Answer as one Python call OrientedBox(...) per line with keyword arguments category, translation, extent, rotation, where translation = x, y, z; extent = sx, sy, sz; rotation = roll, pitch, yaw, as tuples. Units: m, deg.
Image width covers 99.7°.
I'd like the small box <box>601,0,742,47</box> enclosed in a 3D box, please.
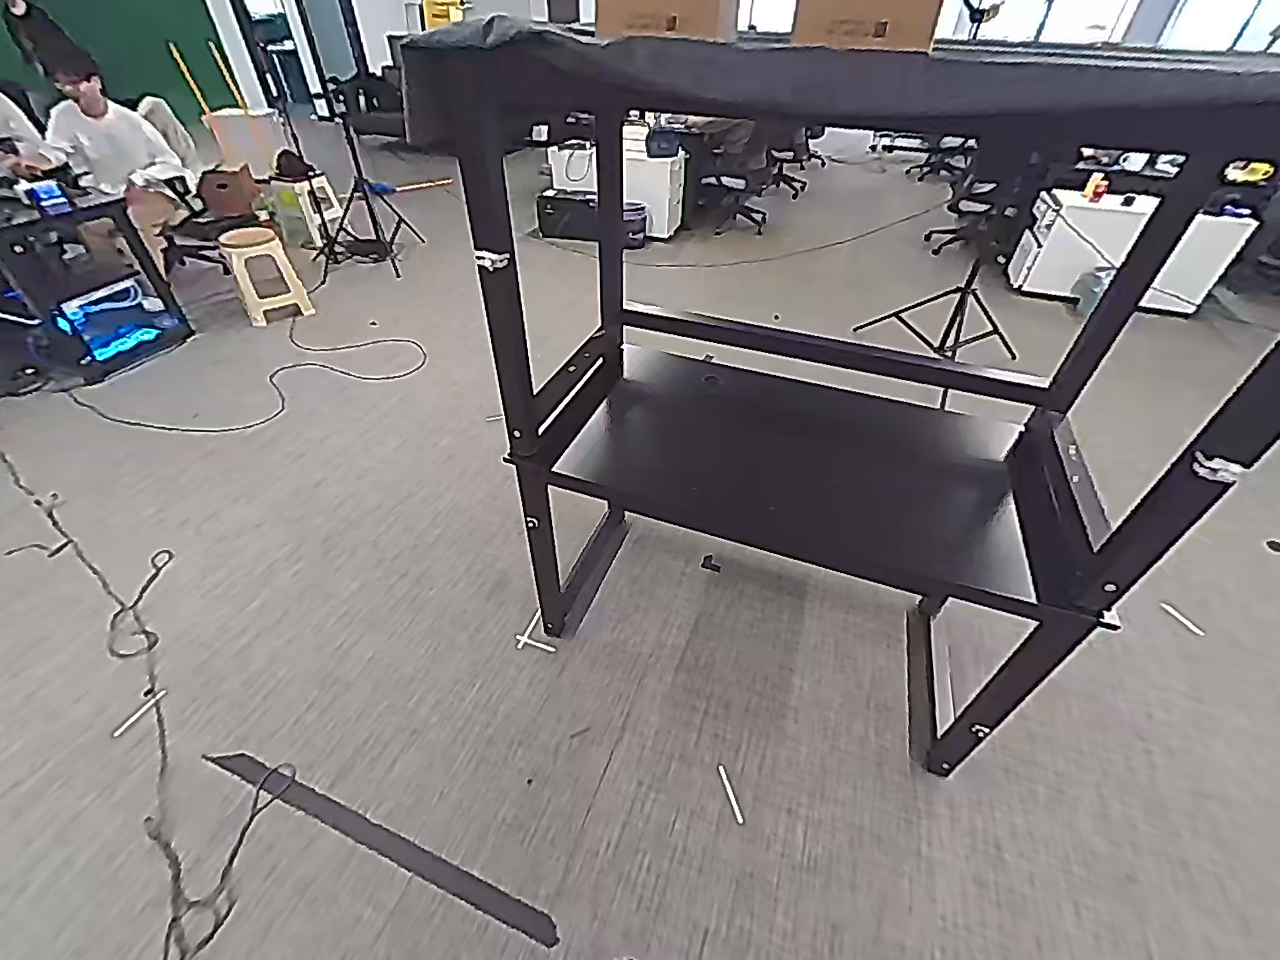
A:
OrientedBox(category="small box", translation=(0.048, -0.684, 0.715), extent=(0.168, 0.176, 0.179), rotation=(13, 42, 11))
